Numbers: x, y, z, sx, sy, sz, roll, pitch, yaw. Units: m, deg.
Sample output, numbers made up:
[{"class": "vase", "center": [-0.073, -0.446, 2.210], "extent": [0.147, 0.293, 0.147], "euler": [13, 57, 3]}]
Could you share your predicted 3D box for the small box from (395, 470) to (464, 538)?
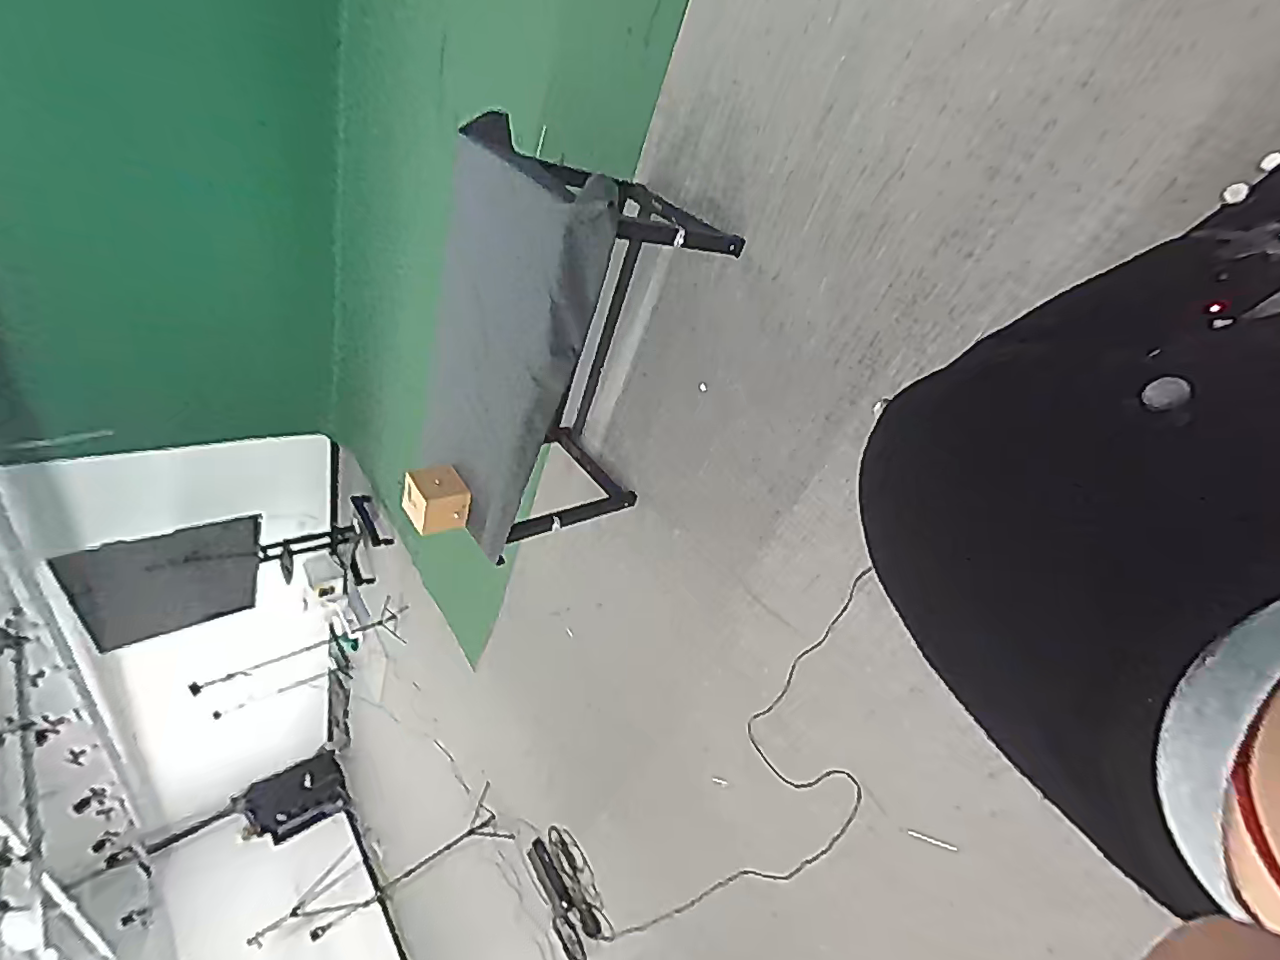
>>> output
[{"class": "small box", "center": [-0.759, 0.079, 1.947], "extent": [0.179, 0.176, 0.168], "euler": [45, 129, 30]}]
